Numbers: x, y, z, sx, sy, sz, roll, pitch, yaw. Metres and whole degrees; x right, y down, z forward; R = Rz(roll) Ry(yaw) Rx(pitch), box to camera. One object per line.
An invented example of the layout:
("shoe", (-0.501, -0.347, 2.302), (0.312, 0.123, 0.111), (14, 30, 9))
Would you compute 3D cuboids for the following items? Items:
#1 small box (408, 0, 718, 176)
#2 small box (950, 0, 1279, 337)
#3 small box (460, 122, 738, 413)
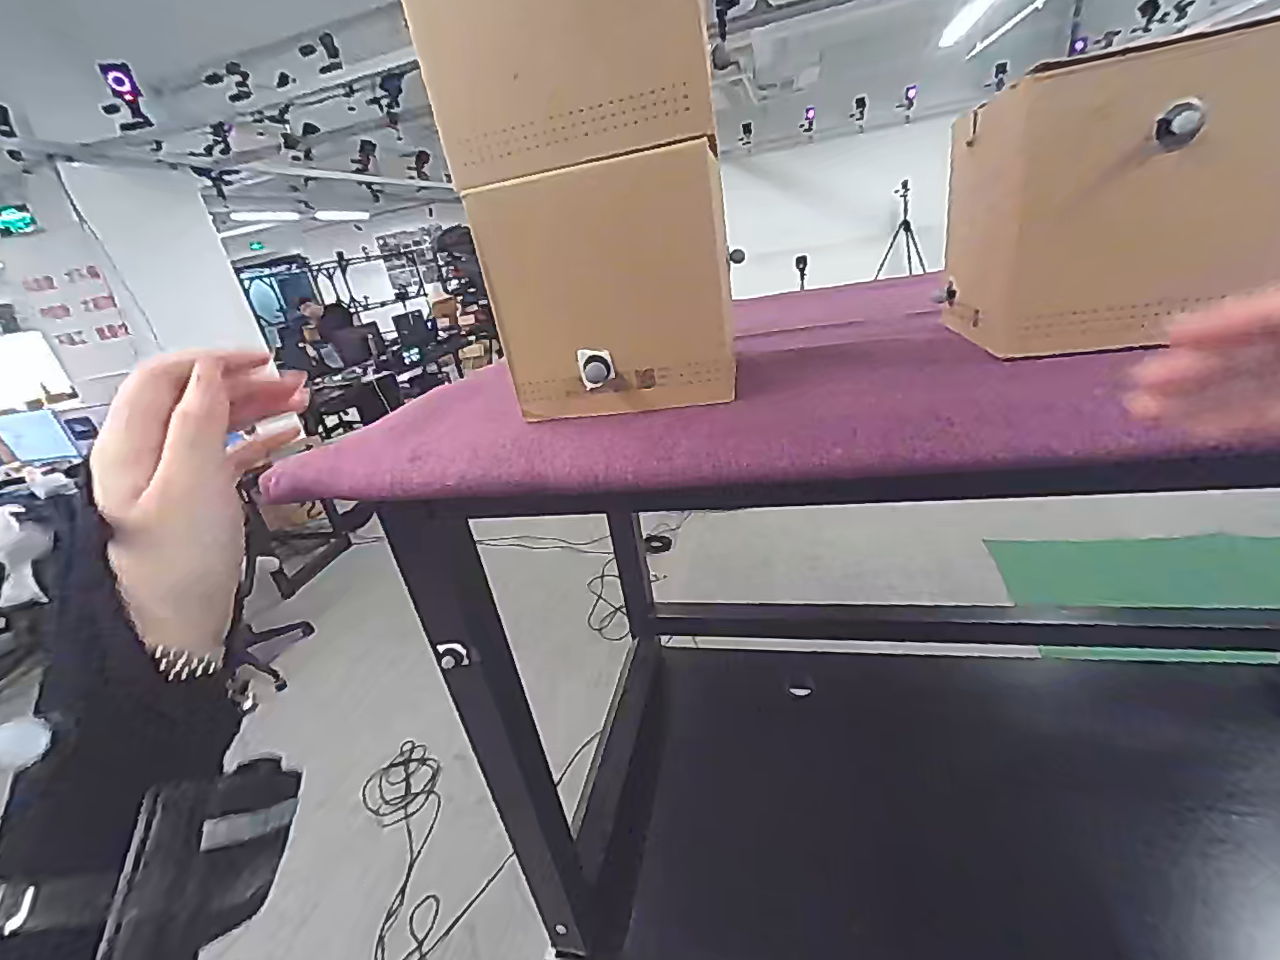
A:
("small box", (-0.046, -0.313, 0.375), (0.179, 0.176, 0.168), (-6, 25, 12))
("small box", (0.330, -0.201, 0.375), (0.179, 0.176, 0.168), (-3, 24, 16))
("small box", (-0.013, -0.164, 0.438), (0.168, 0.176, 0.179), (-6, 25, 13))
